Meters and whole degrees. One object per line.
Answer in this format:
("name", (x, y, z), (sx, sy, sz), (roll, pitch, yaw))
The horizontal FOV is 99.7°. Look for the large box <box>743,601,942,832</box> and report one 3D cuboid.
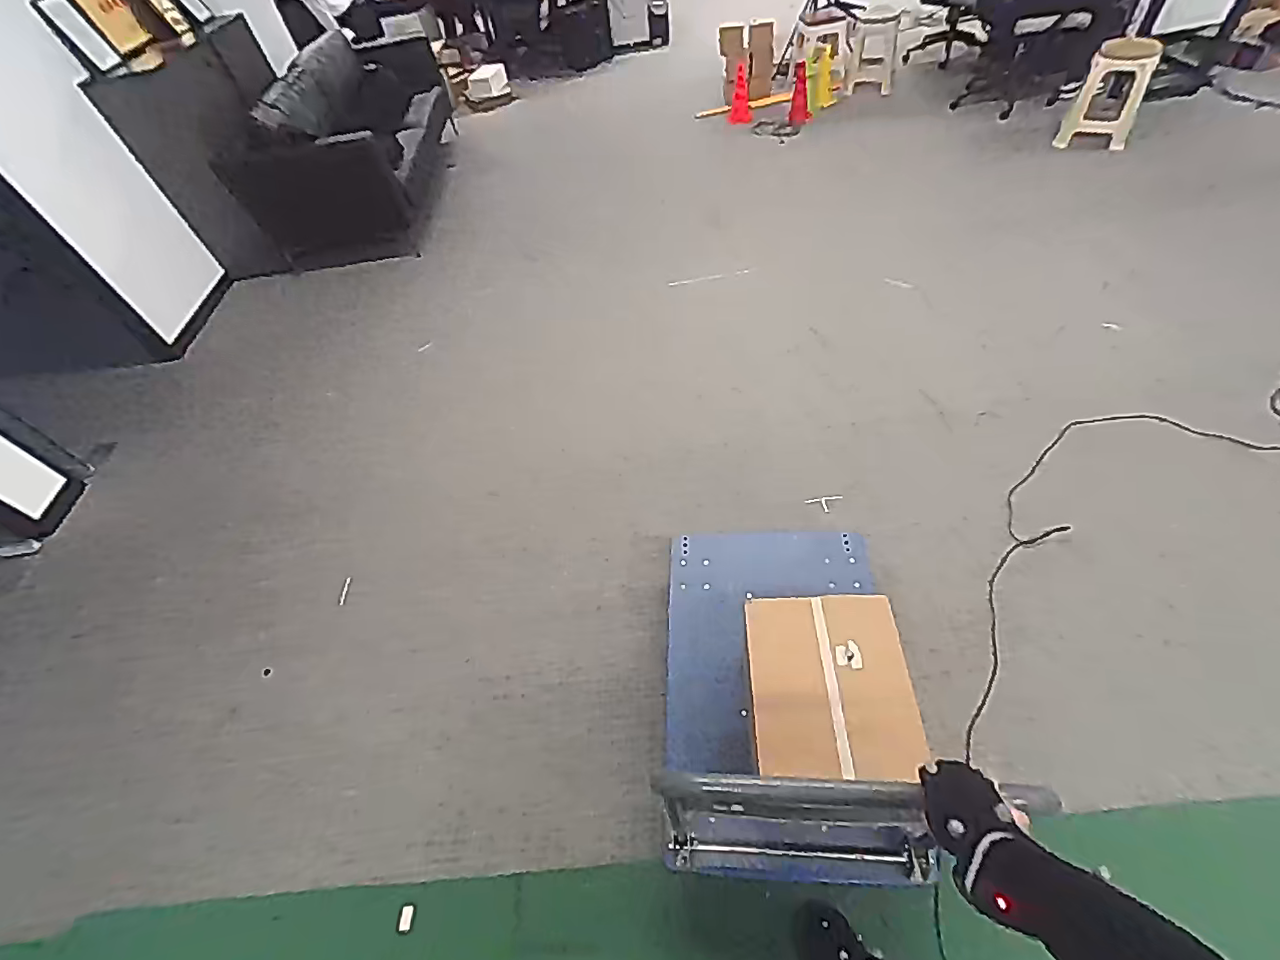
("large box", (0.400, 0.521, 1.190), (0.320, 0.320, 0.408), (-2, 50, 6))
